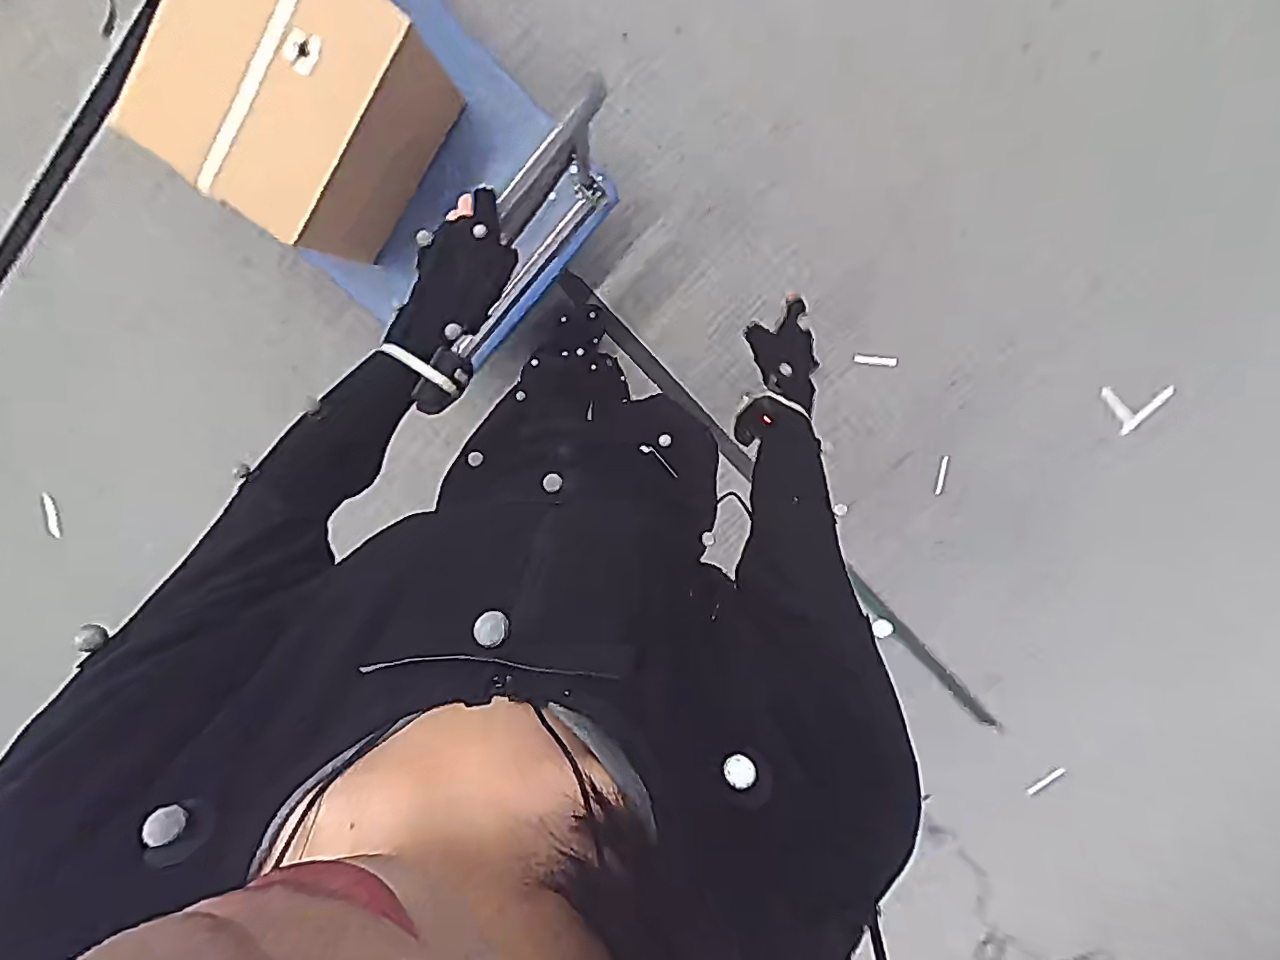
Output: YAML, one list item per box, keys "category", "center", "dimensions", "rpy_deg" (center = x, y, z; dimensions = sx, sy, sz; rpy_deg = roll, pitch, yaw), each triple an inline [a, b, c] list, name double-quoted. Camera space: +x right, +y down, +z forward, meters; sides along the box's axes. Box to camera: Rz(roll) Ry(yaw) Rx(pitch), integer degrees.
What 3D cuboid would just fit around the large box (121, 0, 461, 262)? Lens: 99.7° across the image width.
- category: "large box"
  center: [-0.596, -0.677, 0.987]
  dimensions: [0.320, 0.320, 0.408]
  rpy_deg: [34, 101, -11]
